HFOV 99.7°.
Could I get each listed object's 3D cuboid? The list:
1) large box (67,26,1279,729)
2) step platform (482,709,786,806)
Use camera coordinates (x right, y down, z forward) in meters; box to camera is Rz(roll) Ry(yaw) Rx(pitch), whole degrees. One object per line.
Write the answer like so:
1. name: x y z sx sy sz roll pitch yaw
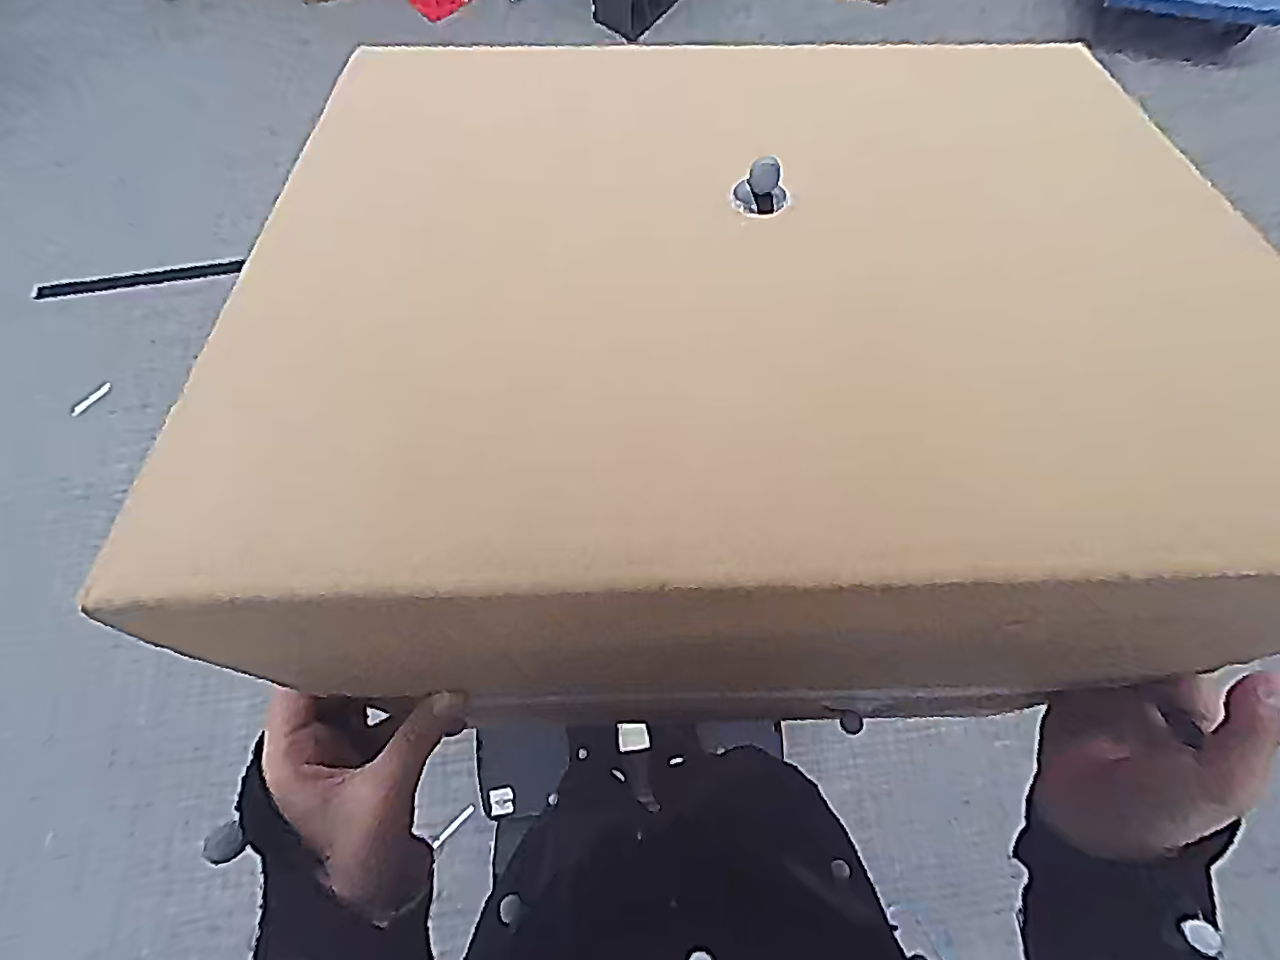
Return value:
1. large box: 0.032 -0.032 0.348 0.408 0.320 0.320 -3 62 0
2. step platform: -0.014 0.570 1.258 0.684 0.204 0.286 -2 74 0
